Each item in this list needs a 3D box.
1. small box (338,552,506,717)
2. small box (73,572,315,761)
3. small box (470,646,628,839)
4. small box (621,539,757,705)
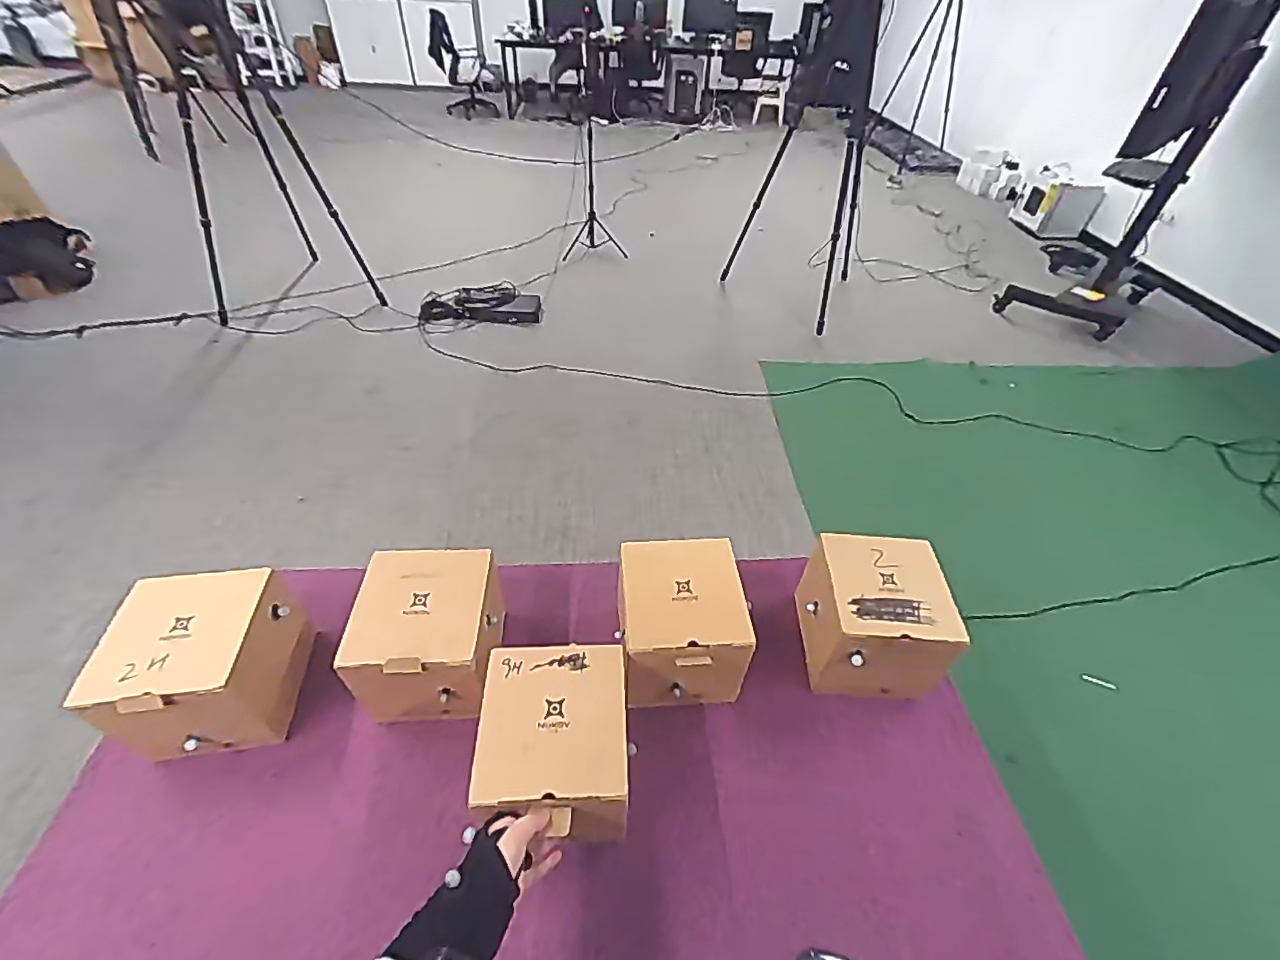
[{"bbox_3d":[-0.289,0.222,0.766,0.168,0.176,0.179,0,44,-4],"label":"small box"},{"bbox_3d":[-0.566,0.248,0.724,0.168,0.176,0.179,-5,45,-7],"label":"small box"},{"bbox_3d":[-0.098,0.326,0.667,0.168,0.176,0.179,-1,45,-4],"label":"small box"},{"bbox_3d":[0.059,0.208,0.797,0.168,0.176,0.179,-2,46,-5],"label":"small box"}]
